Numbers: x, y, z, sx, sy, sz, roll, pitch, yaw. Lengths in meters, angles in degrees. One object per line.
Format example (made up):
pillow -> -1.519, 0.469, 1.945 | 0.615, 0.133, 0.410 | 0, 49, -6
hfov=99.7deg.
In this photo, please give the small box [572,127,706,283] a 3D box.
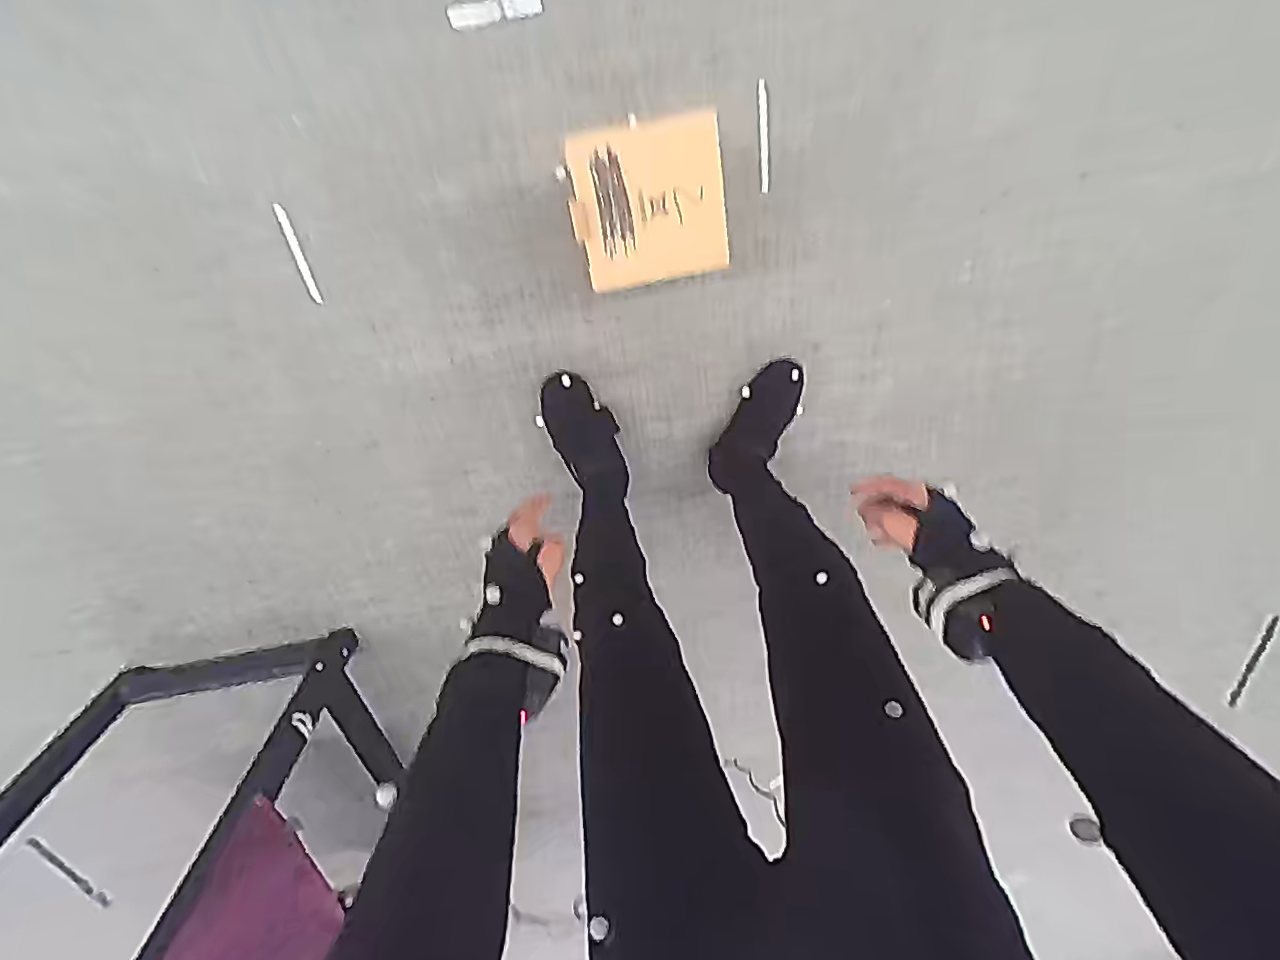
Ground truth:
small box -> -0.001, -0.429, 0.850 | 0.168, 0.176, 0.179 | -14, 118, 3
